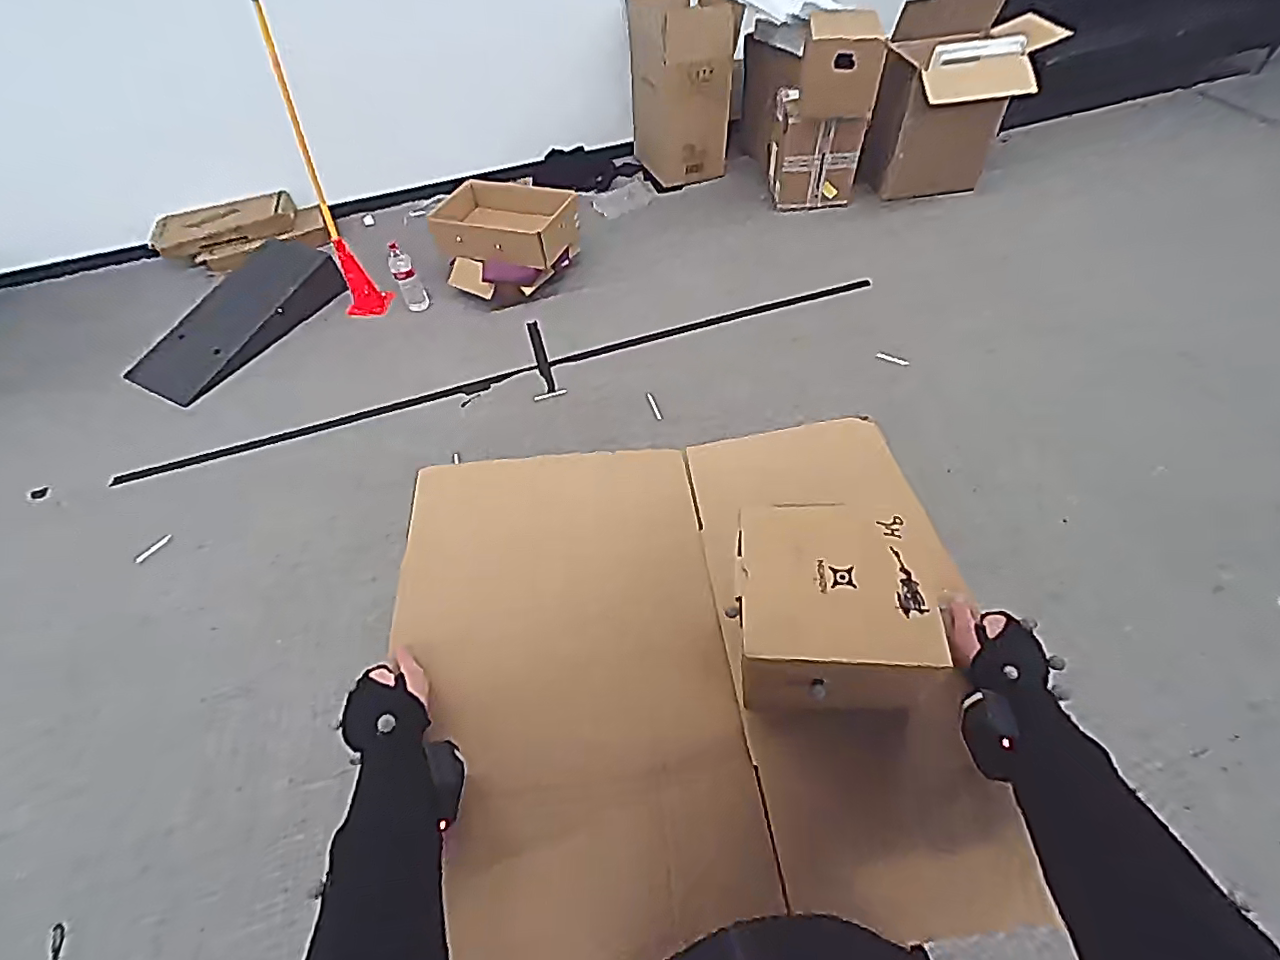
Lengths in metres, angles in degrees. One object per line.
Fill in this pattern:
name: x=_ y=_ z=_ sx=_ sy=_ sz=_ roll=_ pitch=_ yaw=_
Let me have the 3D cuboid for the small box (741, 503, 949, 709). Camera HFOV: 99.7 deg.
small box: x=0.202 y=0.140 z=0.585 sx=0.179 sy=0.176 sz=0.168 roll=-1 pitch=54 yaw=12
